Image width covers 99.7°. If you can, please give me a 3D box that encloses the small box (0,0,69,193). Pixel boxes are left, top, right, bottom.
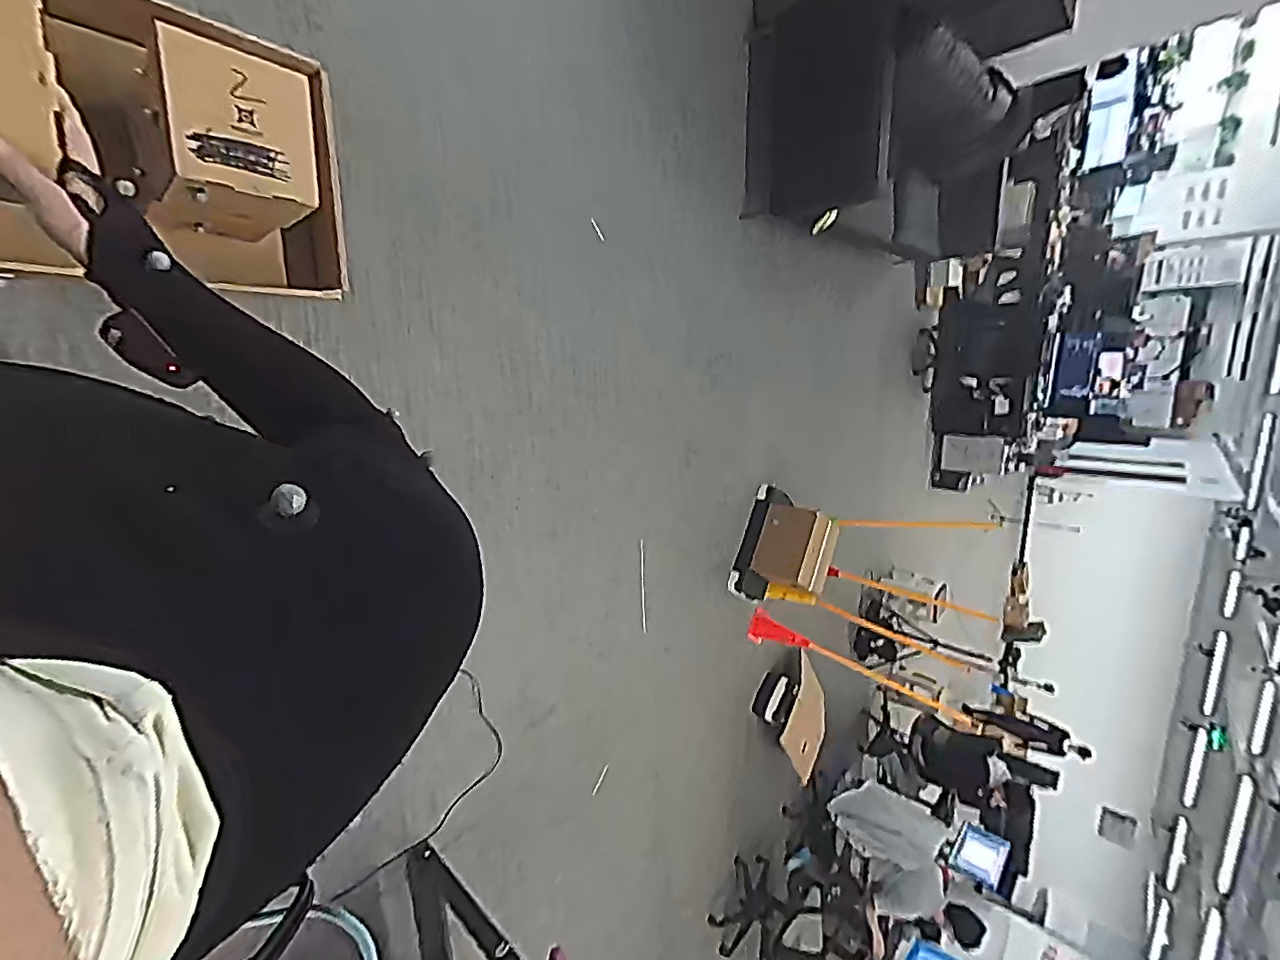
[{"bbox_3d":[-0.604,-0.349,0.438,0.179,0.176,0.168,-9,107,-47],"label":"small box"}]
